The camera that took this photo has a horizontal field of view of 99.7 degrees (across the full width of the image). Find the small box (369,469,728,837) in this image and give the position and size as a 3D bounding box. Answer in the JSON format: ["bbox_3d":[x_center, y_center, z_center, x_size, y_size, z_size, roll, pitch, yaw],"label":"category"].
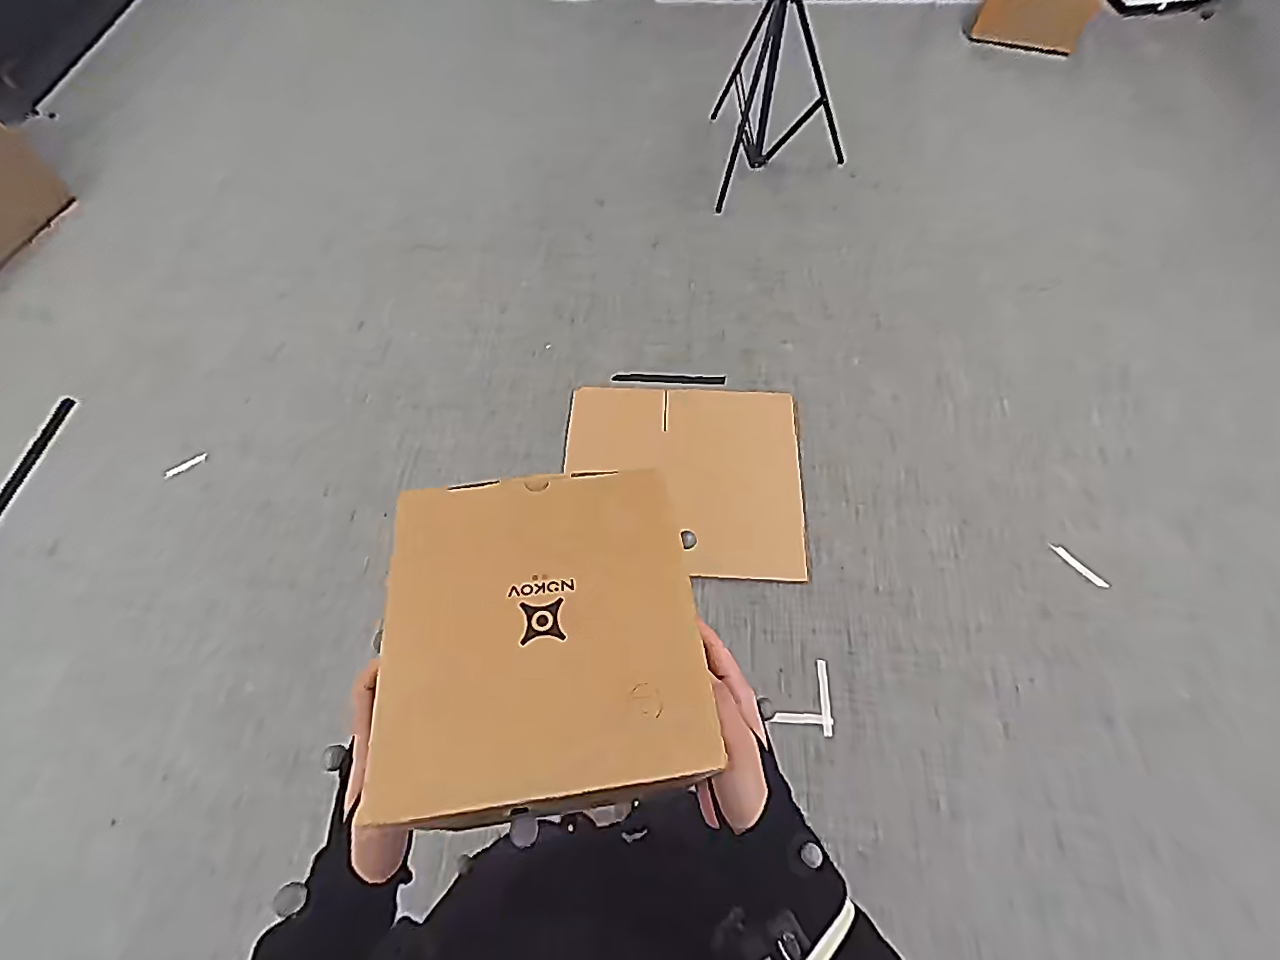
[{"bbox_3d":[-0.051,0.116,0.352,0.168,0.176,0.179,-6,56,-6],"label":"small box"}]
